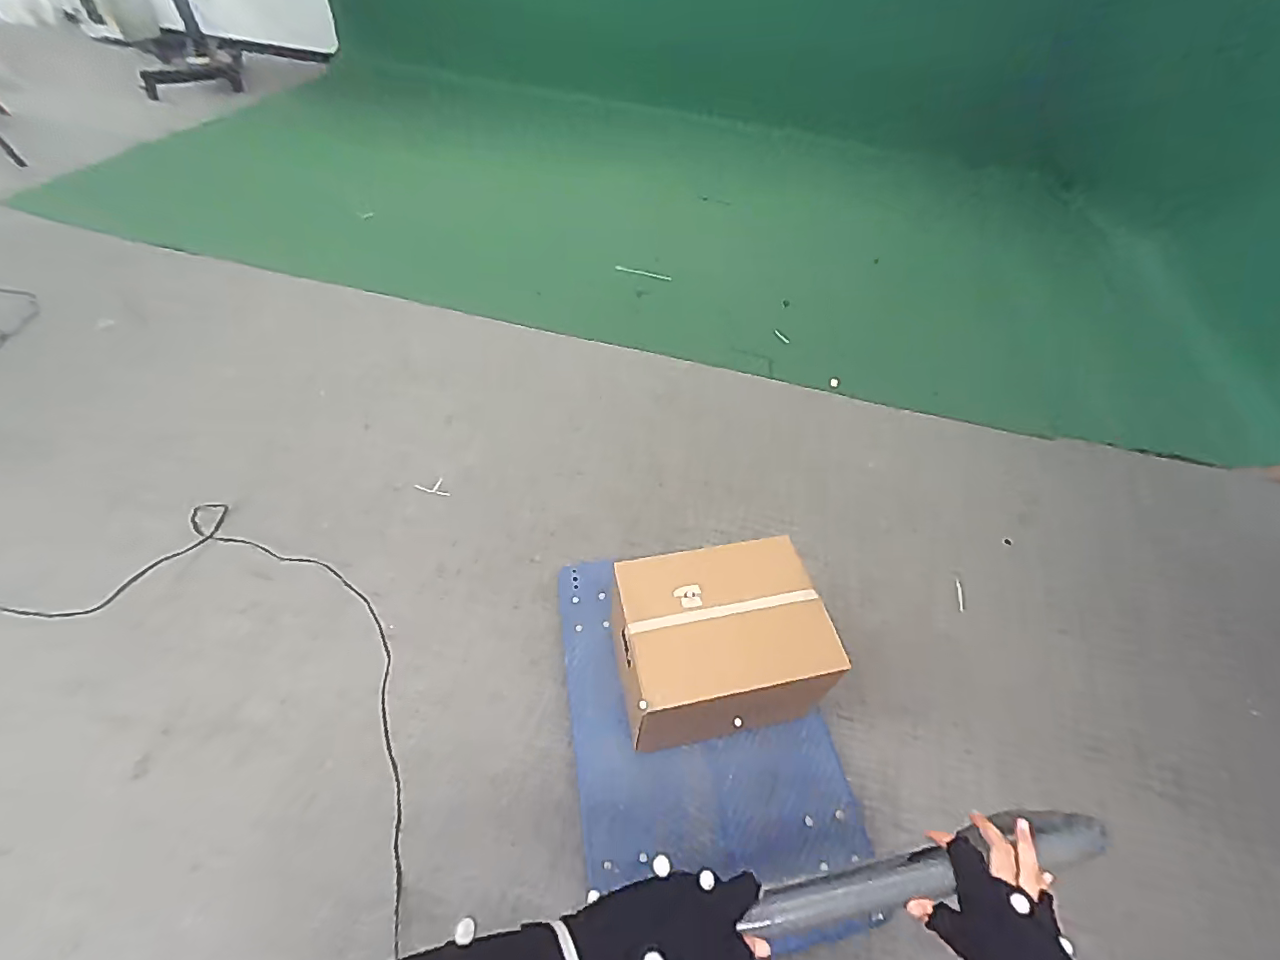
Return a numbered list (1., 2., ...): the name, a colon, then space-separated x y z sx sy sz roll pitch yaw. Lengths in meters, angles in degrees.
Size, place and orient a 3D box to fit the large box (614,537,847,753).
1. large box: 0.168 0.368 1.205 0.408 0.320 0.320 -9 51 -11
